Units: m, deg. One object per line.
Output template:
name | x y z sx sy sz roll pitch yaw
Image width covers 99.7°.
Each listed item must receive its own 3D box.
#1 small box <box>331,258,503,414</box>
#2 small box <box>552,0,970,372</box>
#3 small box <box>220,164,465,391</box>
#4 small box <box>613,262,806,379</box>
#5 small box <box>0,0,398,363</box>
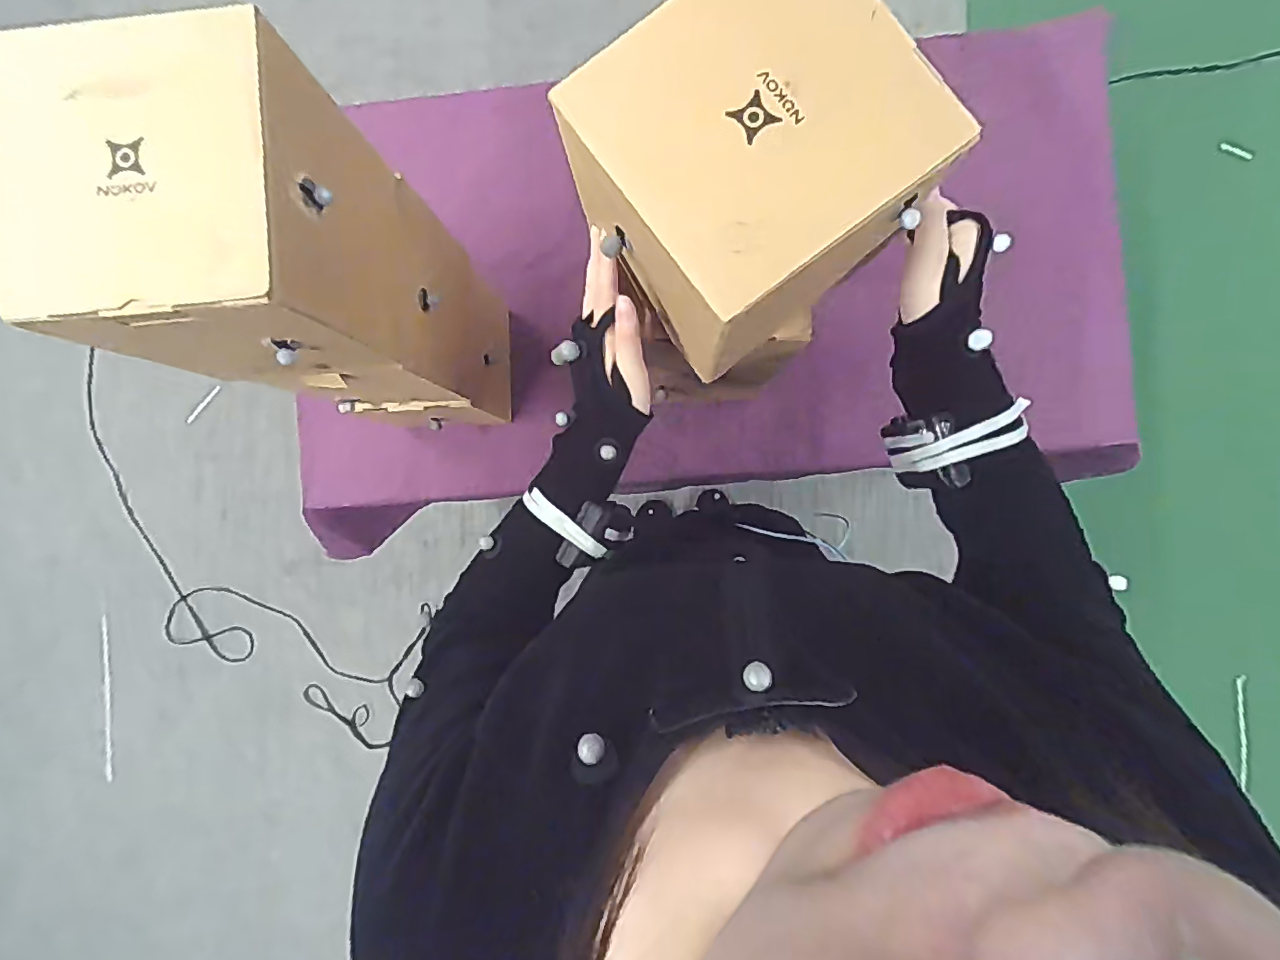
small box | -0.284 -0.180 0.718 0.168 0.176 0.179 -1 90 1
small box | 0.068 -0.199 0.377 0.179 0.176 0.168 -34 88 1
small box | -0.288 -0.188 0.553 0.168 0.176 0.179 0 89 2
small box | 0.062 -0.206 0.540 0.168 0.176 0.179 1 90 2
small box | -0.293 -0.186 0.390 0.168 0.176 0.179 -3 89 1
